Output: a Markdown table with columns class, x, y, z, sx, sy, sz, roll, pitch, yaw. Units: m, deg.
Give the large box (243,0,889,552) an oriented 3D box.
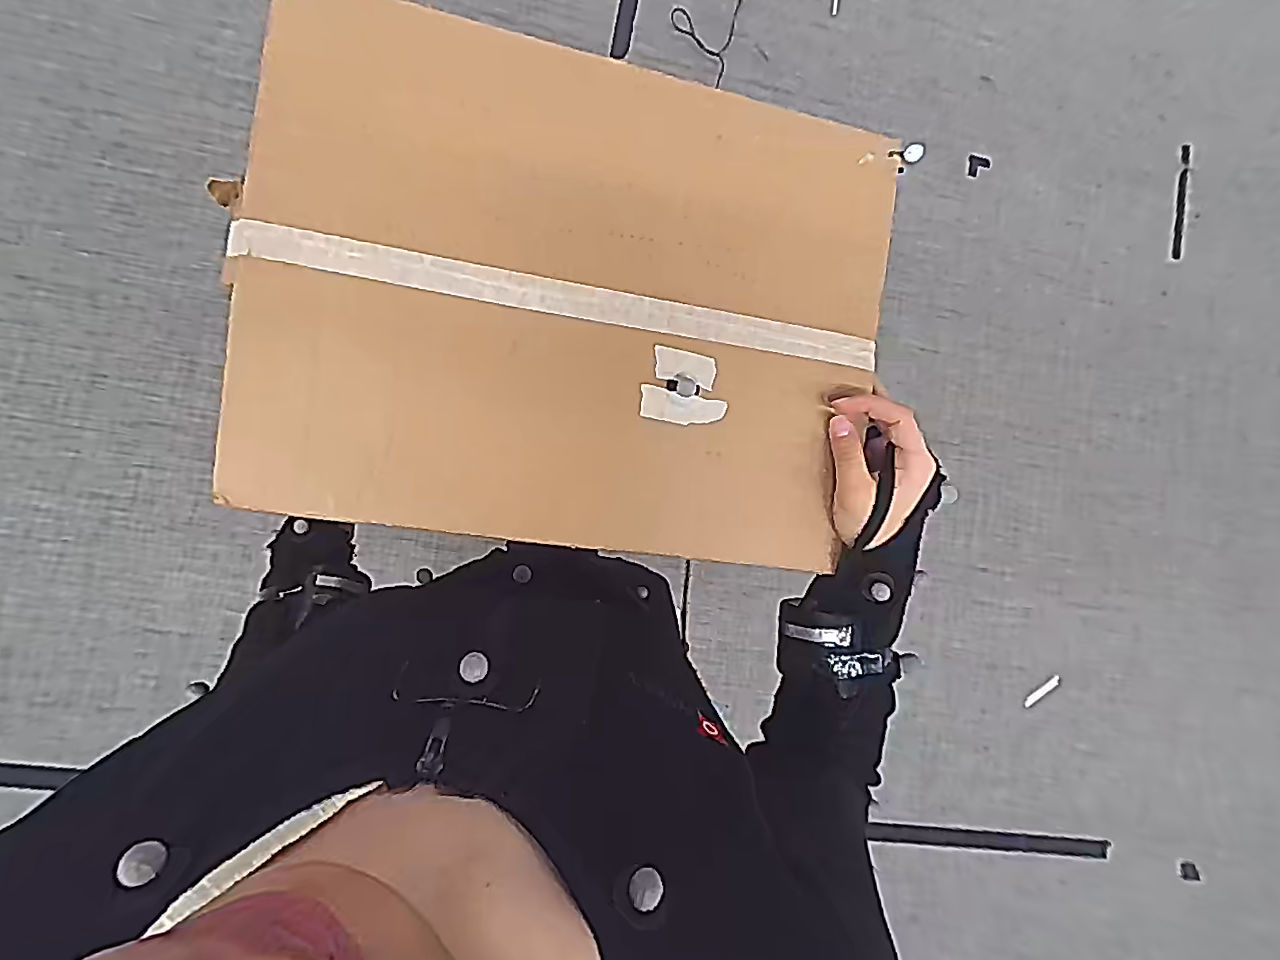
| class | x | y | z | sx | sy | sz | roll | pitch | yaw |
| --- | --- | --- | --- | --- | --- | --- | --- | --- | --- |
| large box | -0.058 | -0.125 | 0.502 | 0.408 | 0.320 | 0.320 | 7 | 92 | -12 |
